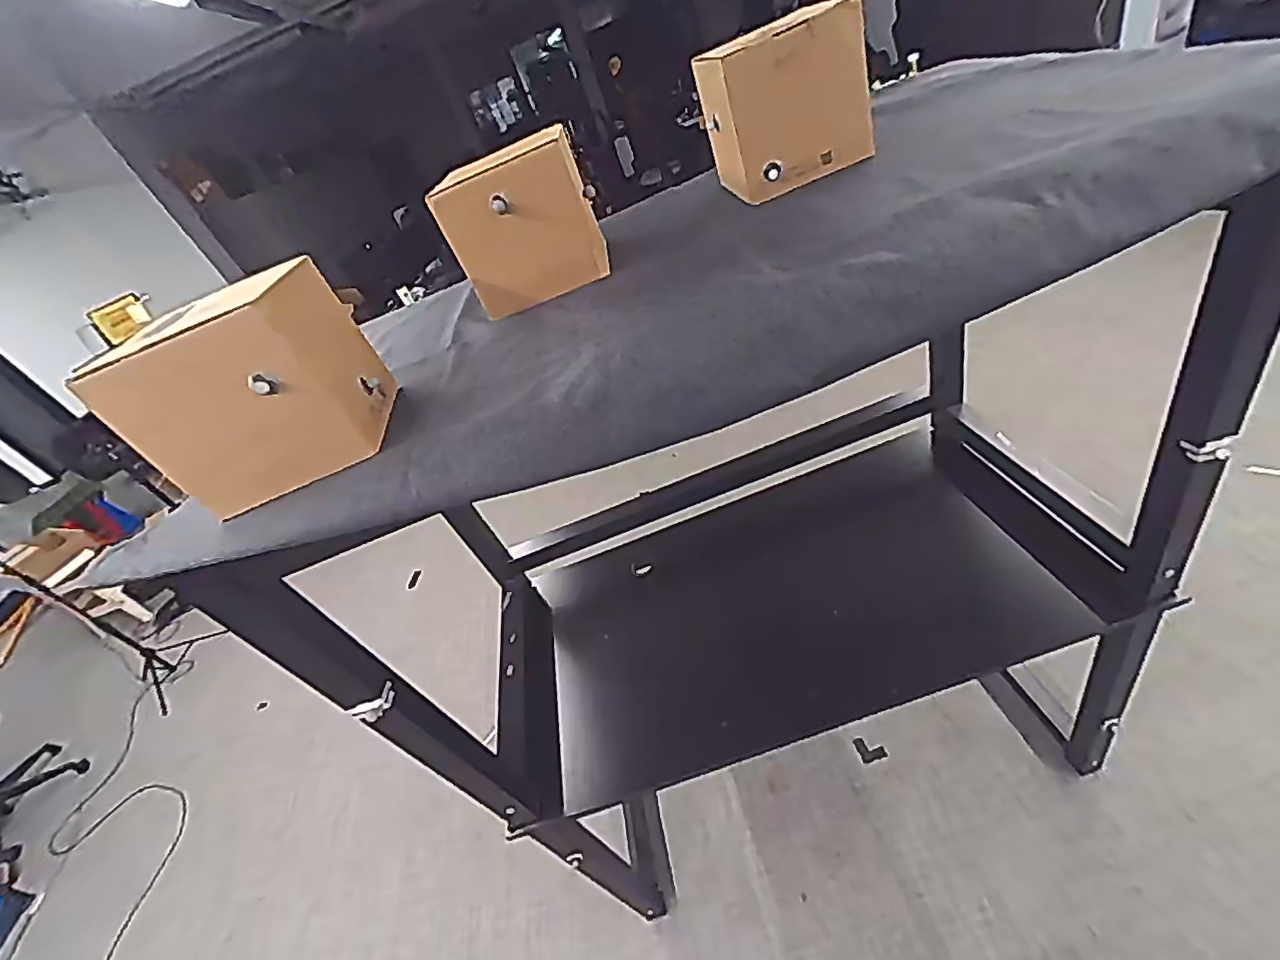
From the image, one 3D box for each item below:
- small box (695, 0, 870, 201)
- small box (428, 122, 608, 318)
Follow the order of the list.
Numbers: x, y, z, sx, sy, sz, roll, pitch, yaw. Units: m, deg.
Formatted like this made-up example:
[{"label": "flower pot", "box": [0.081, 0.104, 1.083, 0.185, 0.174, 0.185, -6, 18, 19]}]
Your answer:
[{"label": "small box", "box": [0.188, -0.495, 0.718, 0.168, 0.176, 0.179, -20, 37, 7]}, {"label": "small box", "box": [-0.148, -0.349, 0.733, 0.179, 0.176, 0.168, -19, 38, 9]}]
